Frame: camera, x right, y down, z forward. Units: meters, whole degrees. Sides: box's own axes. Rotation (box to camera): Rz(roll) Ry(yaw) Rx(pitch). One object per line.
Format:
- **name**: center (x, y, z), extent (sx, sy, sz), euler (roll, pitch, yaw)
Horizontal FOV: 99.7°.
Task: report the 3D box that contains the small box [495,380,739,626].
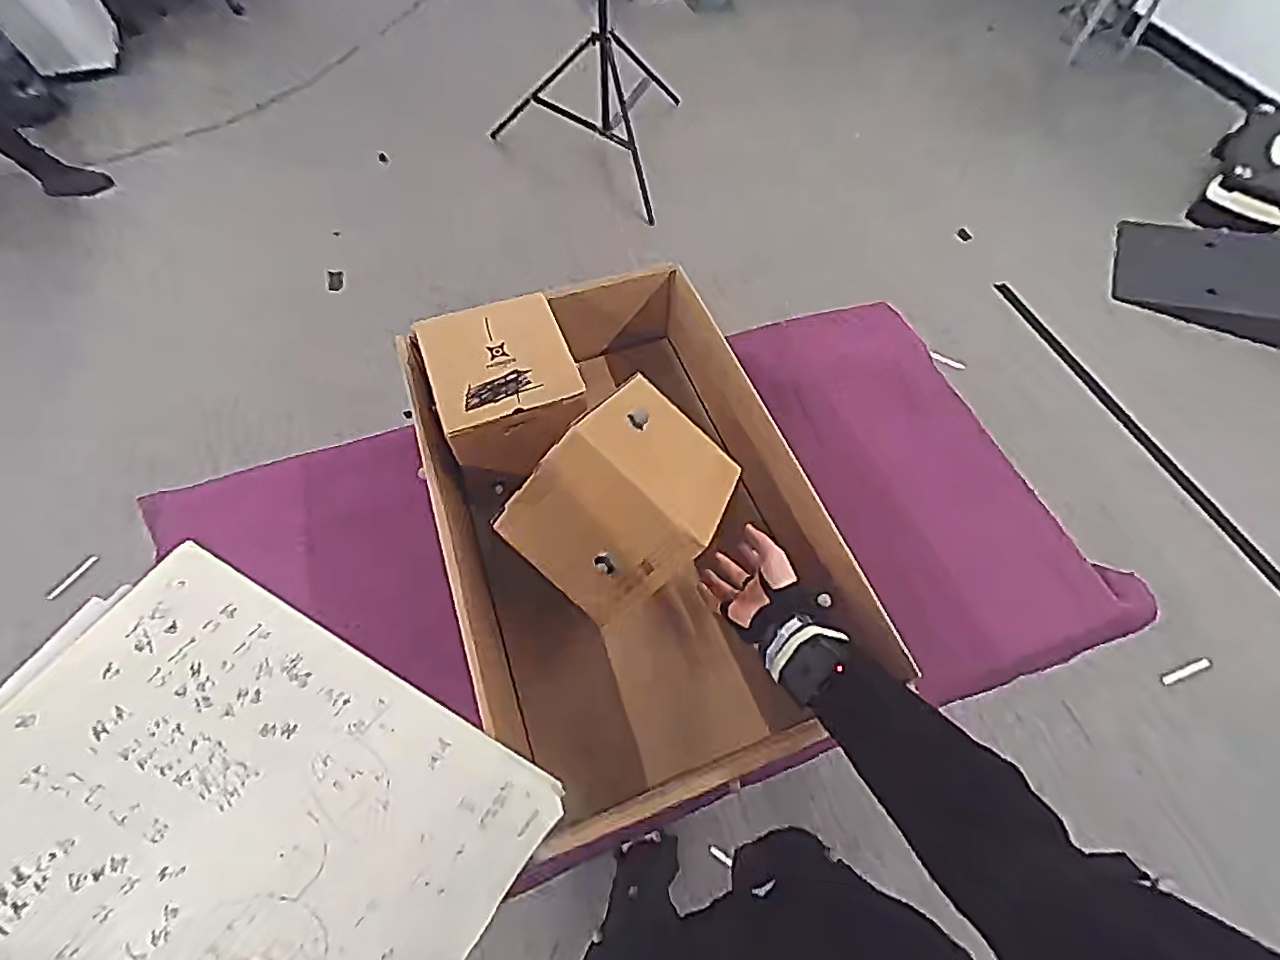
- **small box**: center (-0.015, 0.023, 0.591), extent (0.176, 0.168, 0.179), euler (44, 34, -1)
